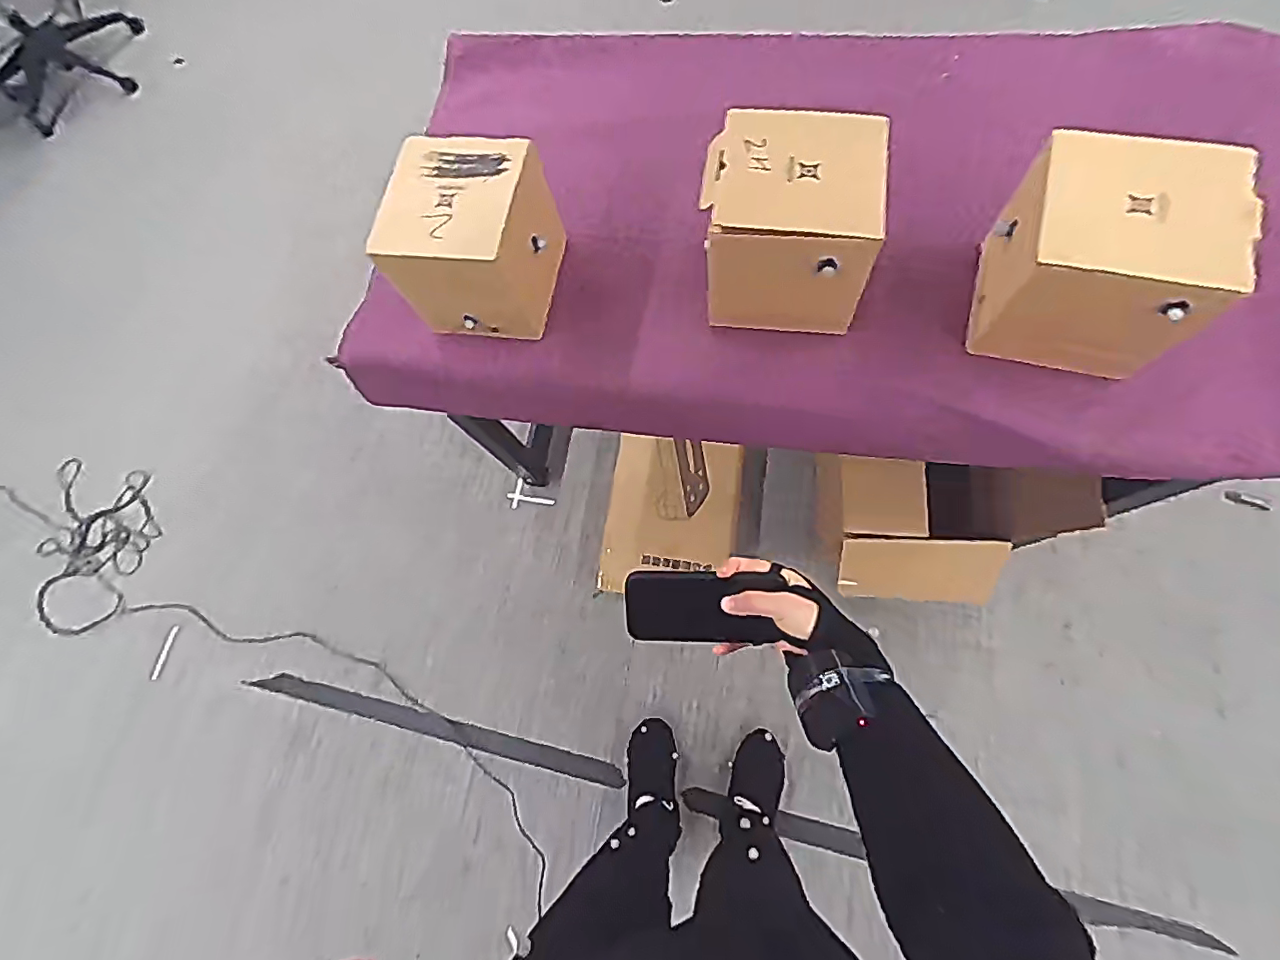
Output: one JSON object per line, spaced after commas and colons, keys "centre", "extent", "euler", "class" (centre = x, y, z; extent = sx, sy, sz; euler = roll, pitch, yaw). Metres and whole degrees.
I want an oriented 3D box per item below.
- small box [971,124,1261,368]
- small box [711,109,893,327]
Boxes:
{"centre": [0.489, -0.241, 0.583], "extent": [0.179, 0.176, 0.168], "euler": [14, 75, 11], "class": "small box"}
{"centre": [0.182, -0.301, 0.643], "extent": [0.179, 0.176, 0.168], "euler": [7, 72, 10], "class": "small box"}
